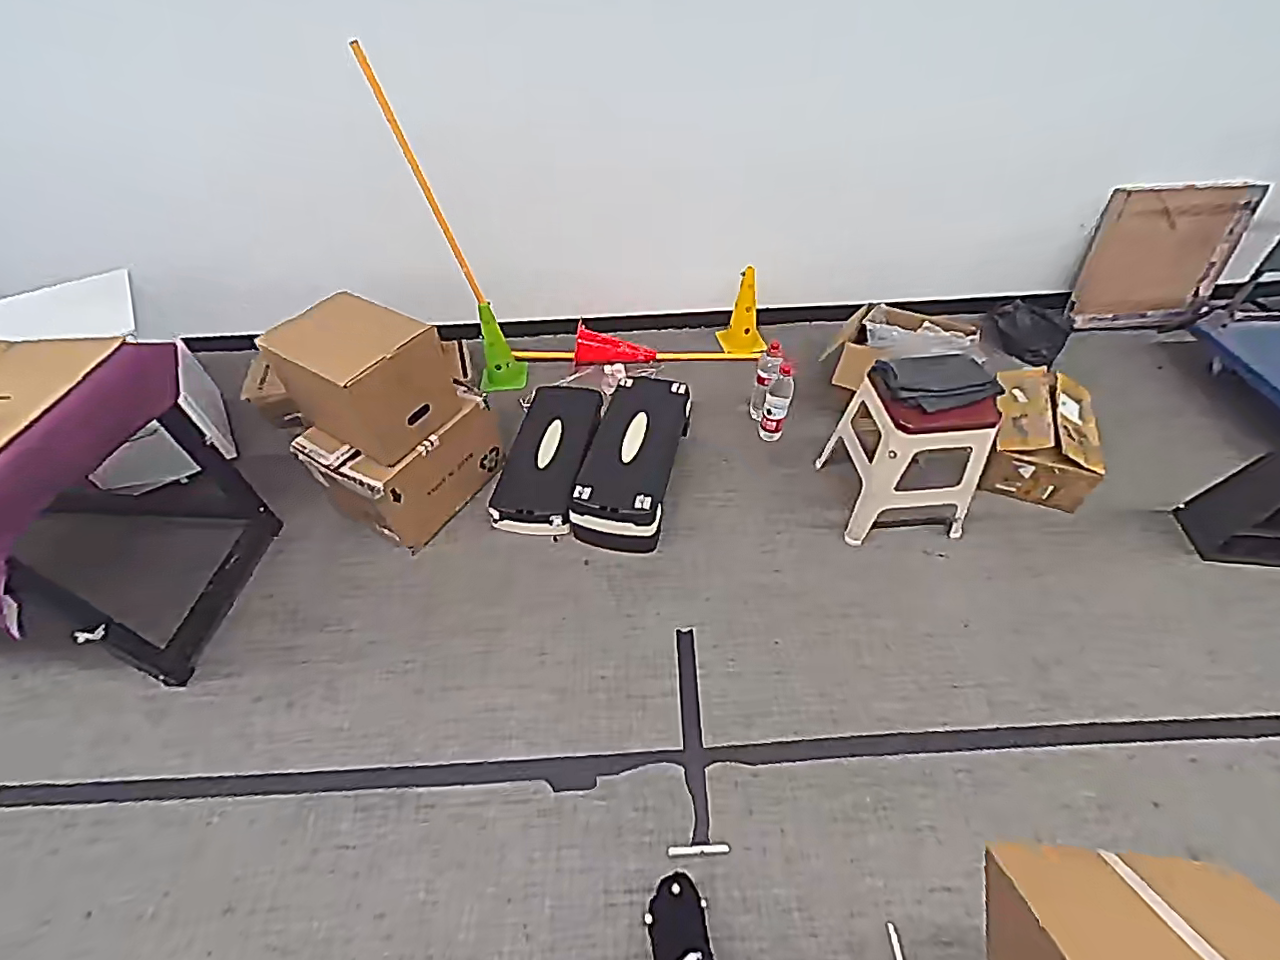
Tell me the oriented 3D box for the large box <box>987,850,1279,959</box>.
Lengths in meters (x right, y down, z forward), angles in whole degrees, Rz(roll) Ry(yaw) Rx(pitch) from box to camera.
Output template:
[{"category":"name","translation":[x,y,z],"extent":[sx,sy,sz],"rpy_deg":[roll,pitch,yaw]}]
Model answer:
[{"category":"large box","translation":[0.624,0.696,0.577],"extent":[0.320,0.408,0.320],"rpy_deg":[0,88,11]}]
